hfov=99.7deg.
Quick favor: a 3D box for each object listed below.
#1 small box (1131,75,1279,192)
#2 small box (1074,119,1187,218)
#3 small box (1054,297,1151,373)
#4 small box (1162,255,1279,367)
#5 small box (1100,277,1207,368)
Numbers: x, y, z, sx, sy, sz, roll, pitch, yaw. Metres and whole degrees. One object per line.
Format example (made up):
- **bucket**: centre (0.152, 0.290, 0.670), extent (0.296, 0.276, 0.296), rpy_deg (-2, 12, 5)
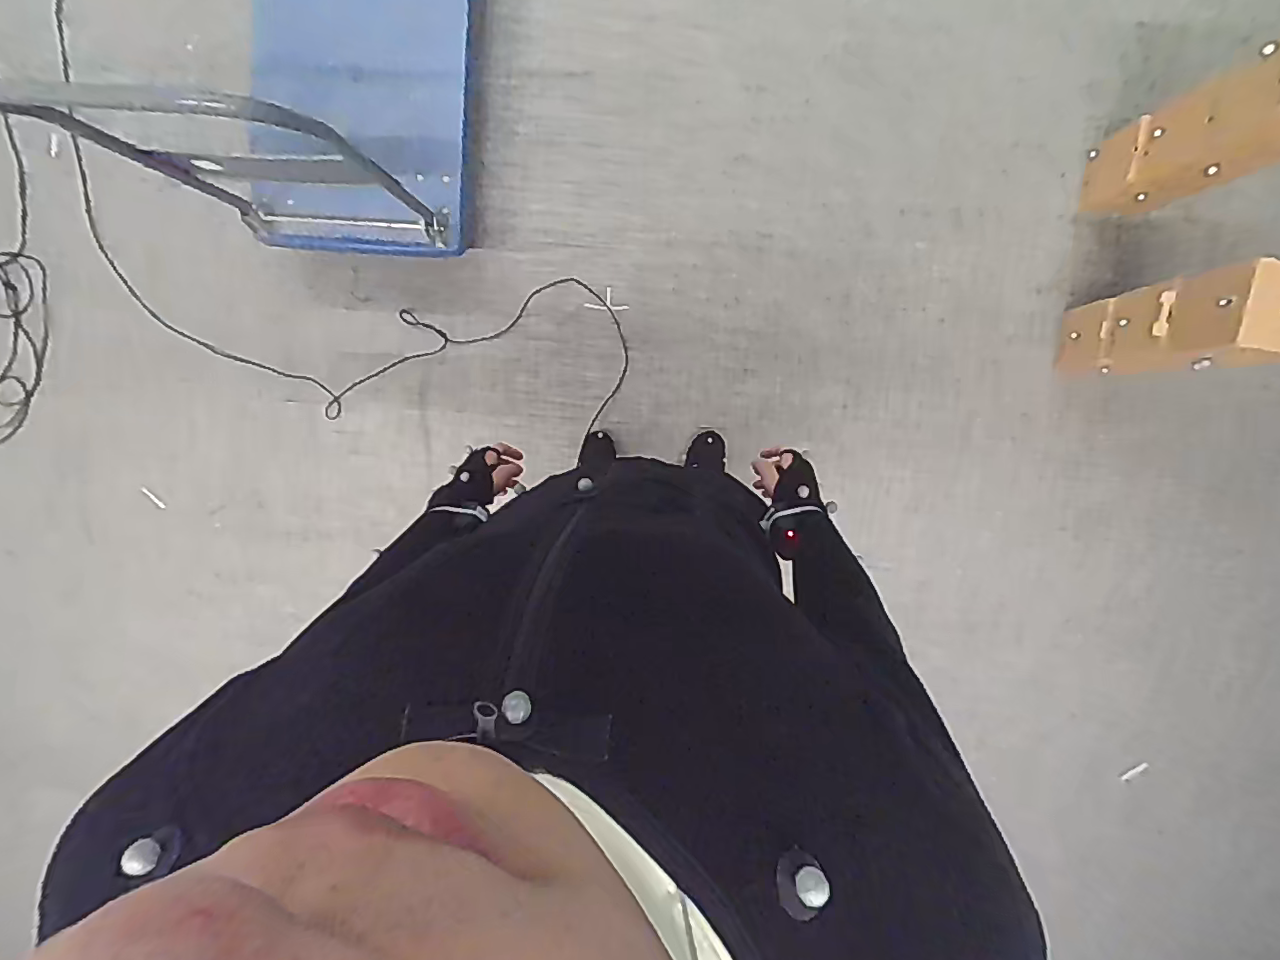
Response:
- **small box**: centre (1.322, -0.798, 1.263), extent (0.179, 0.176, 0.168), rpy_deg (10, 96, 2)
- **small box**: centre (1.315, -0.821, 1.441), extent (0.179, 0.176, 0.168), rpy_deg (9, 97, 1)
- **small box**: centre (1.275, -0.386, 1.467), extent (0.179, 0.176, 0.168), rpy_deg (7, 96, 3)
- **small box**: centre (1.270, -0.348, 1.142), extent (0.168, 0.176, 0.179), rpy_deg (11, 96, 2)
- **small box**: centre (1.278, -0.370, 1.303), extent (0.179, 0.176, 0.168), rpy_deg (11, 95, 1)
